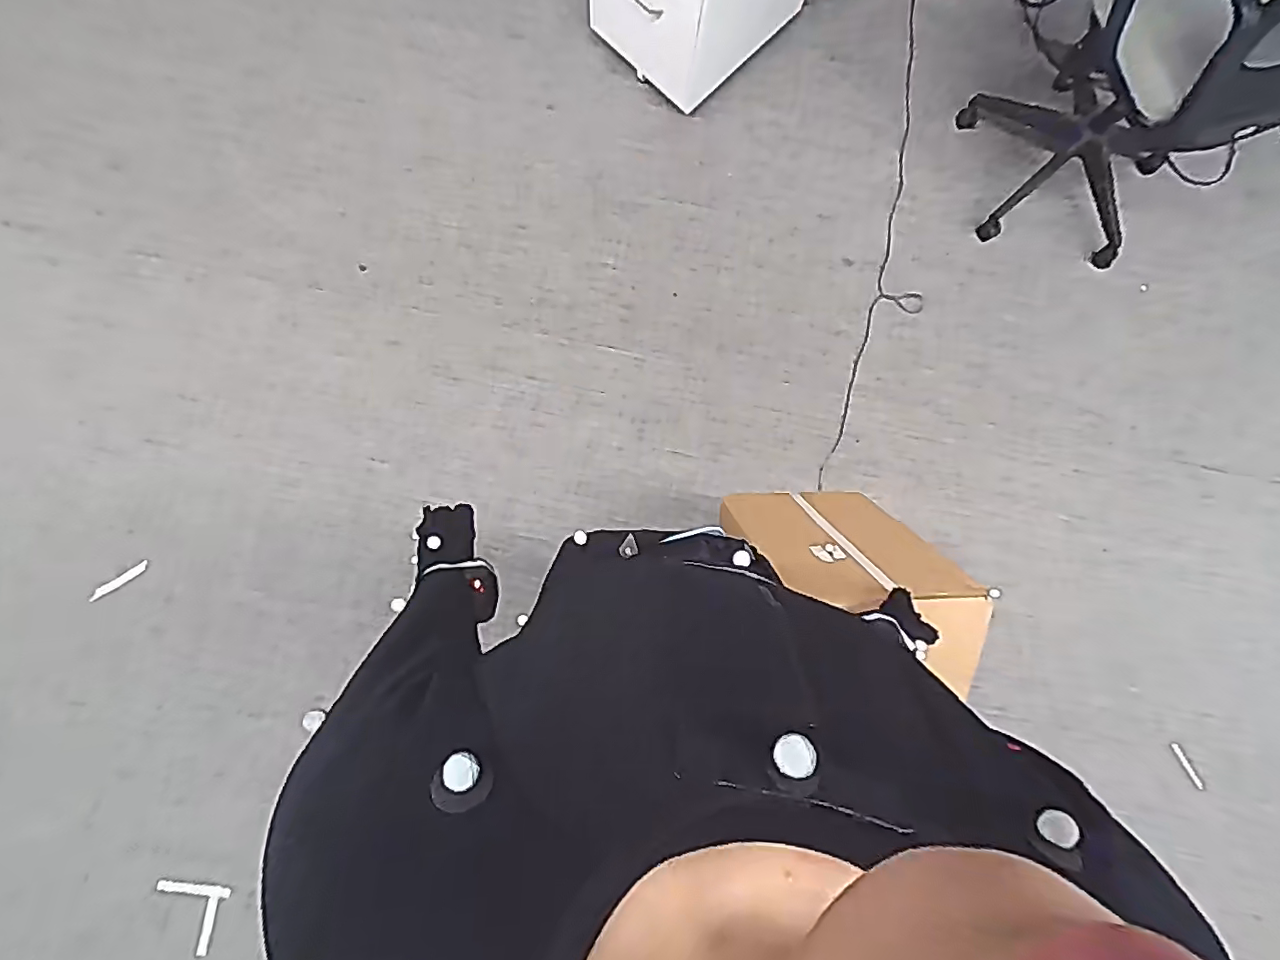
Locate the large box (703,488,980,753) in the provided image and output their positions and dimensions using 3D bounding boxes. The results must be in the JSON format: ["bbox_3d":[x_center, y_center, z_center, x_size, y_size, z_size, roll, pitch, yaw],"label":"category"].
[{"bbox_3d":[0.327,0.235,1.028,0.320,0.408,0.320,-1,113,-7],"label":"large box"}]
